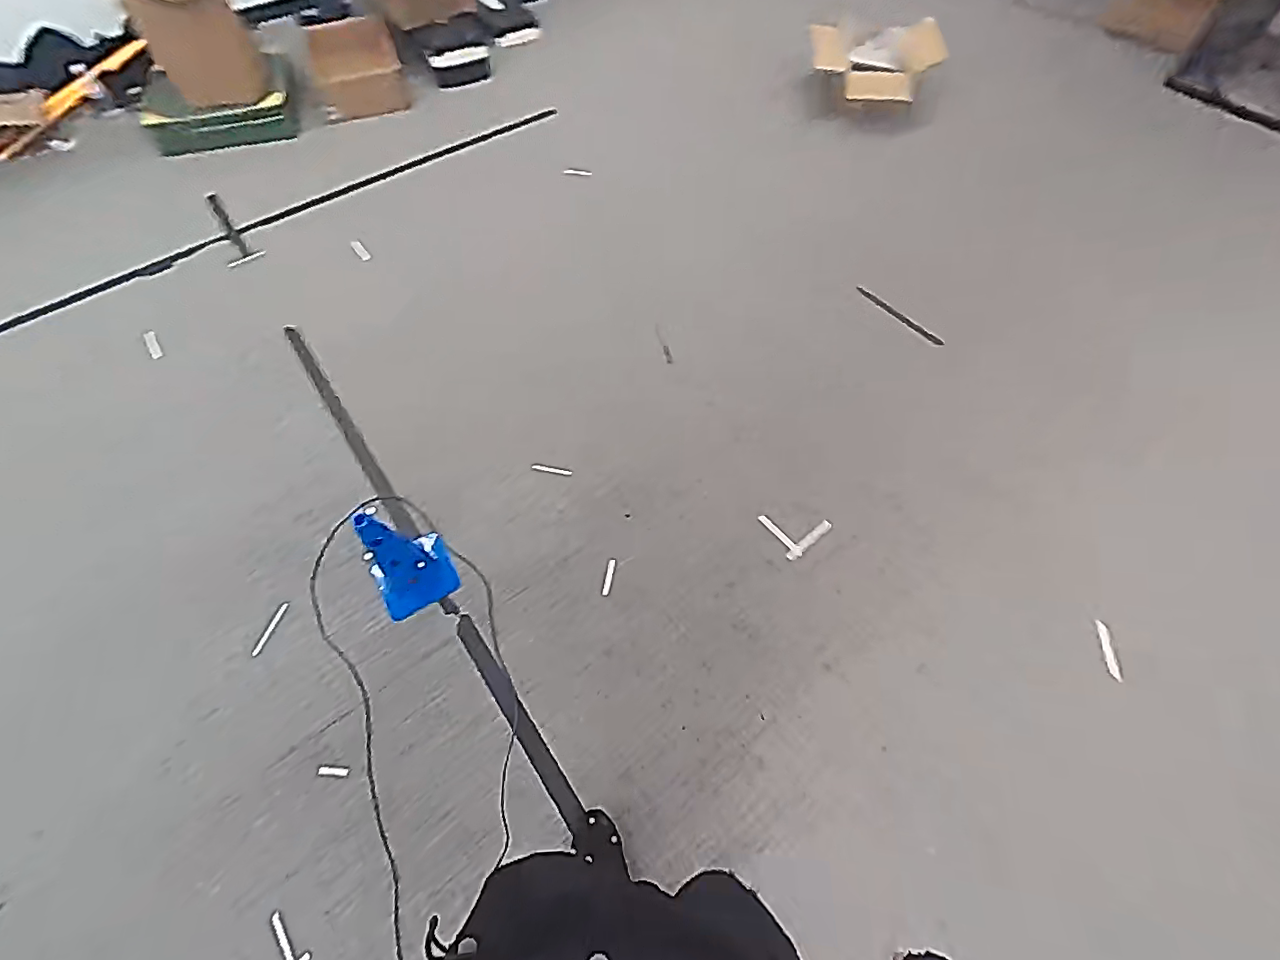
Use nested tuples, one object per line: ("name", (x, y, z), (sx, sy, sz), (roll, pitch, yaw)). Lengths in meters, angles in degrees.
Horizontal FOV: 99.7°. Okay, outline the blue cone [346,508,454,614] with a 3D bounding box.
("blue cone", (-0.620, 0.174, 1.336), (0.193, 0.380, 0.192), (-31, 65, -16))
